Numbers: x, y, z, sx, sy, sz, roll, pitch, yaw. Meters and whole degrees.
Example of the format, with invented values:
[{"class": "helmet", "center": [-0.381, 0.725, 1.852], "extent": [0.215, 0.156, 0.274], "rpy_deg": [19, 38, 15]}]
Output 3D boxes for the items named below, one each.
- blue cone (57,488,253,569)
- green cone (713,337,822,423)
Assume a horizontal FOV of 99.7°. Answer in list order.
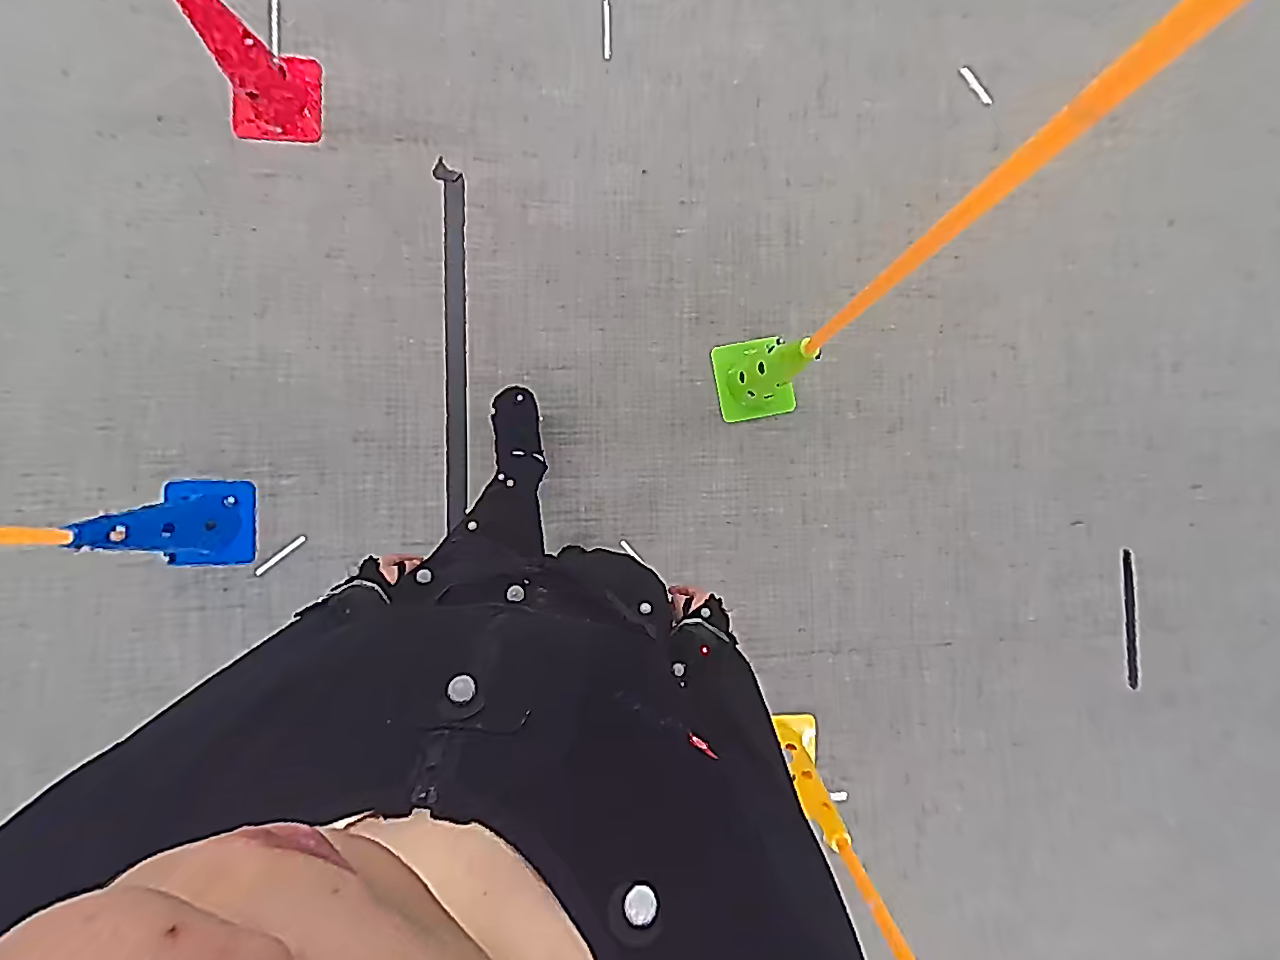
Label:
[{"class": "blue cone", "center": [-0.997, 0.113, 1.108], "extent": [0.193, 0.380, 0.192], "rpy_deg": [2, 90, -5]}, {"class": "green cone", "center": [0.312, -0.255, 1.227], "extent": [0.200, 0.368, 0.202], "rpy_deg": [-12, 92, -5]}]
